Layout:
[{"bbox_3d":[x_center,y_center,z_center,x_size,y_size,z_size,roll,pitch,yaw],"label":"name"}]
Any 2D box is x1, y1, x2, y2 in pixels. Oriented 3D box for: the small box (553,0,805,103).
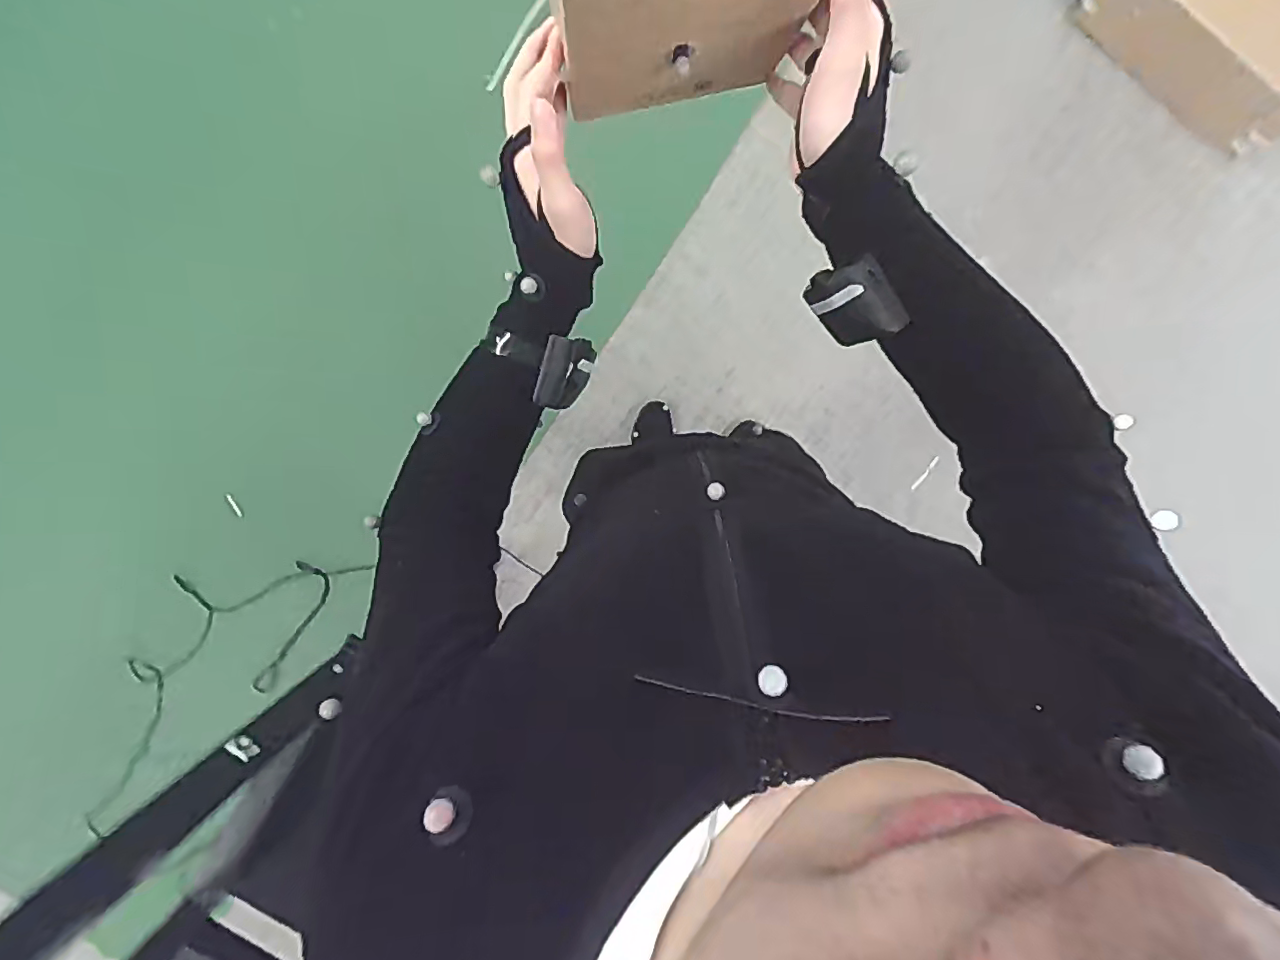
[{"bbox_3d":[0.019,-0.382,0.356,0.168,0.176,0.179,-12,103,-2],"label":"small box"}]
